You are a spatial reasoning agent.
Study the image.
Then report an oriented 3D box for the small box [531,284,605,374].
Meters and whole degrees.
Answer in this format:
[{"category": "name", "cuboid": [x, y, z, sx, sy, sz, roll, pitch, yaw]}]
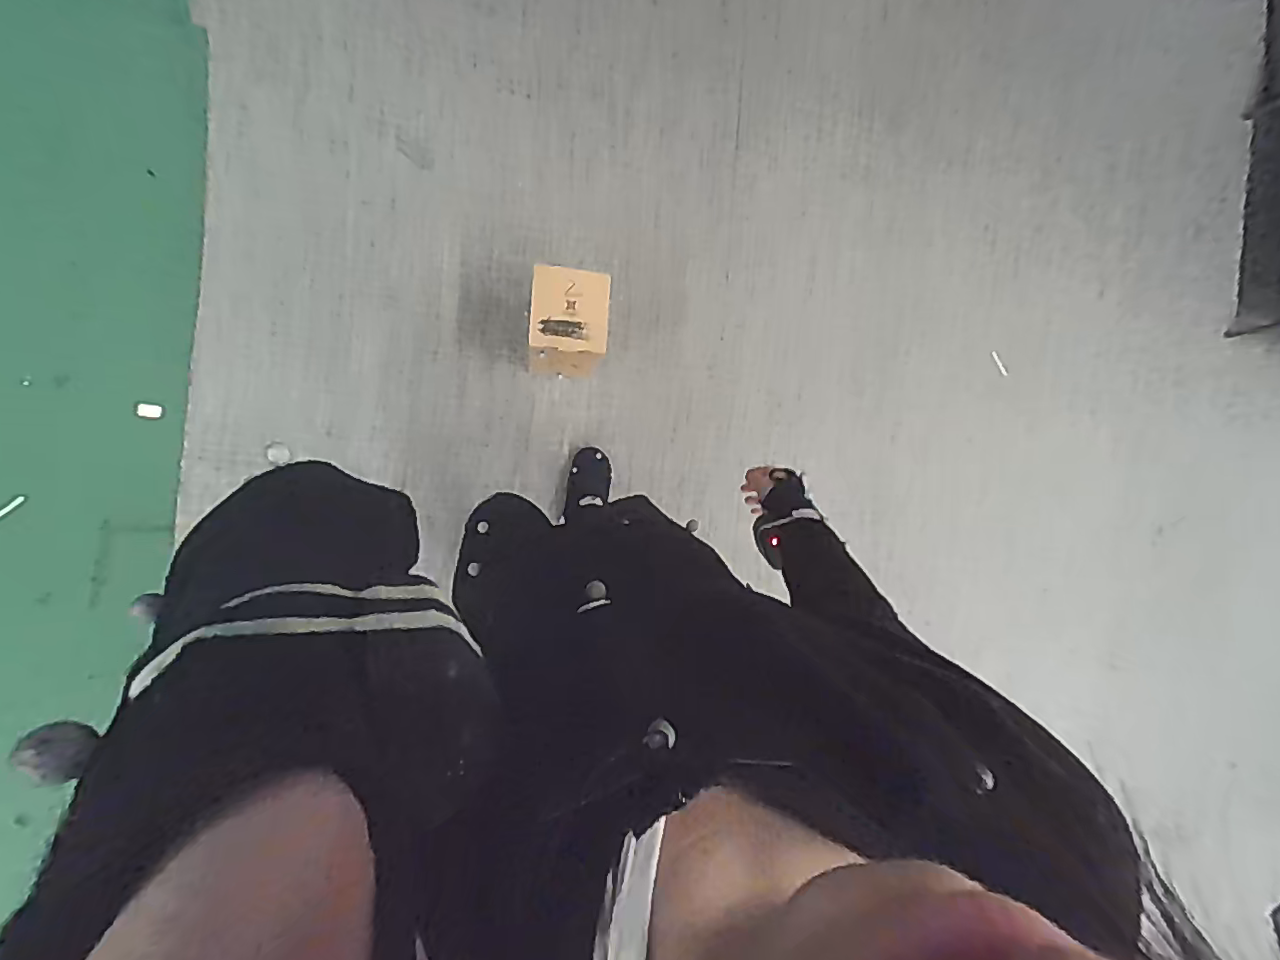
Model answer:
[{"category": "small box", "cuboid": [-0.189, -0.378, 1.380, 0.168, 0.176, 0.179, 4, 92, -11]}]
